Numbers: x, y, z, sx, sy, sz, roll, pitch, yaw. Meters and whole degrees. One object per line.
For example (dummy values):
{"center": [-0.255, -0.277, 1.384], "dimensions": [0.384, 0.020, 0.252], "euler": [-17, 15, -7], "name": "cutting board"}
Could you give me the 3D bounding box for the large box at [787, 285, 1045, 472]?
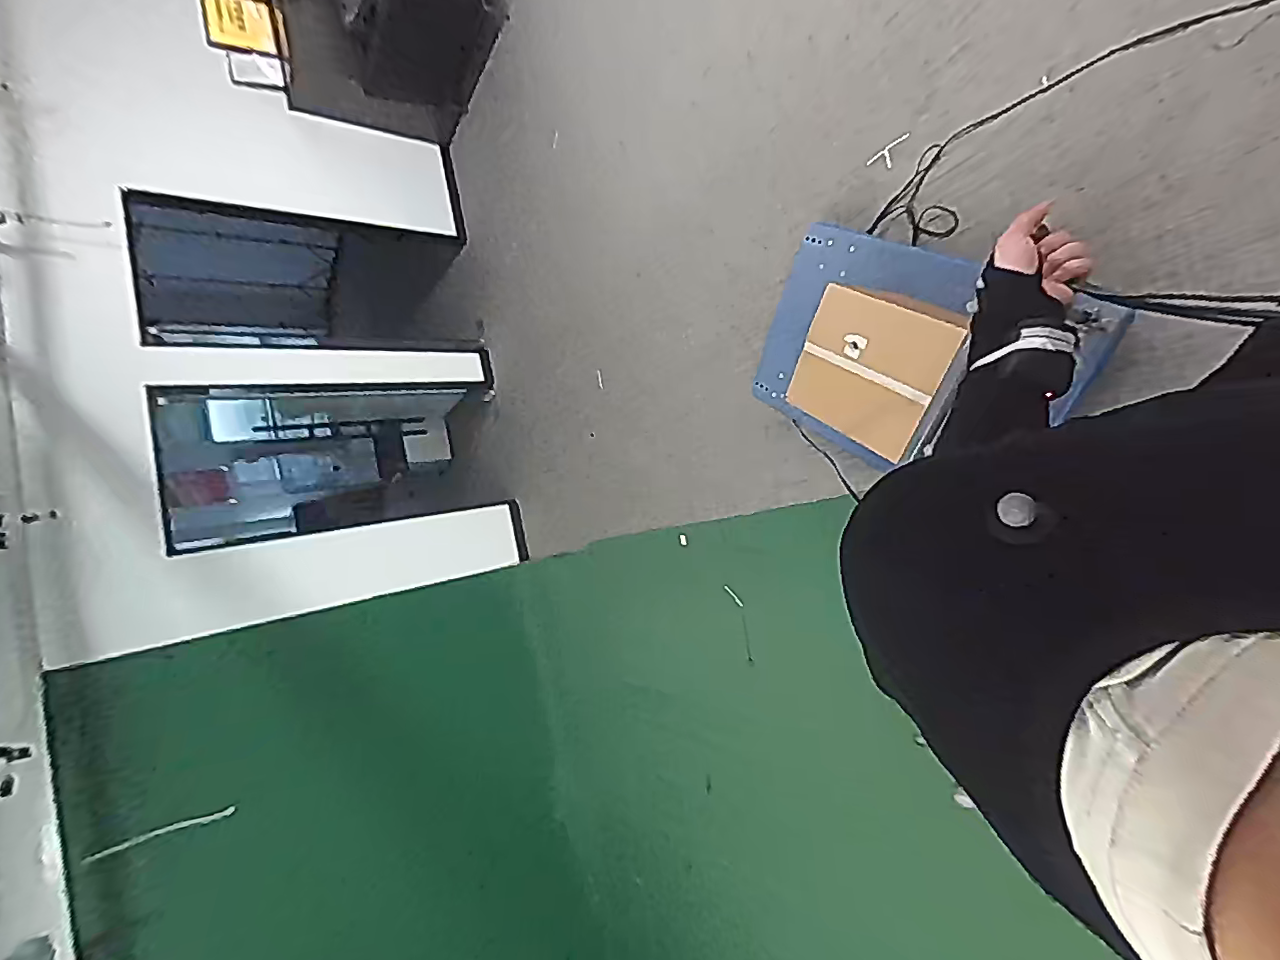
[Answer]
{"center": [0.653, -0.259, 1.321], "dimensions": [0.408, 0.320, 0.320], "euler": [43, 128, 42], "name": "large box"}
